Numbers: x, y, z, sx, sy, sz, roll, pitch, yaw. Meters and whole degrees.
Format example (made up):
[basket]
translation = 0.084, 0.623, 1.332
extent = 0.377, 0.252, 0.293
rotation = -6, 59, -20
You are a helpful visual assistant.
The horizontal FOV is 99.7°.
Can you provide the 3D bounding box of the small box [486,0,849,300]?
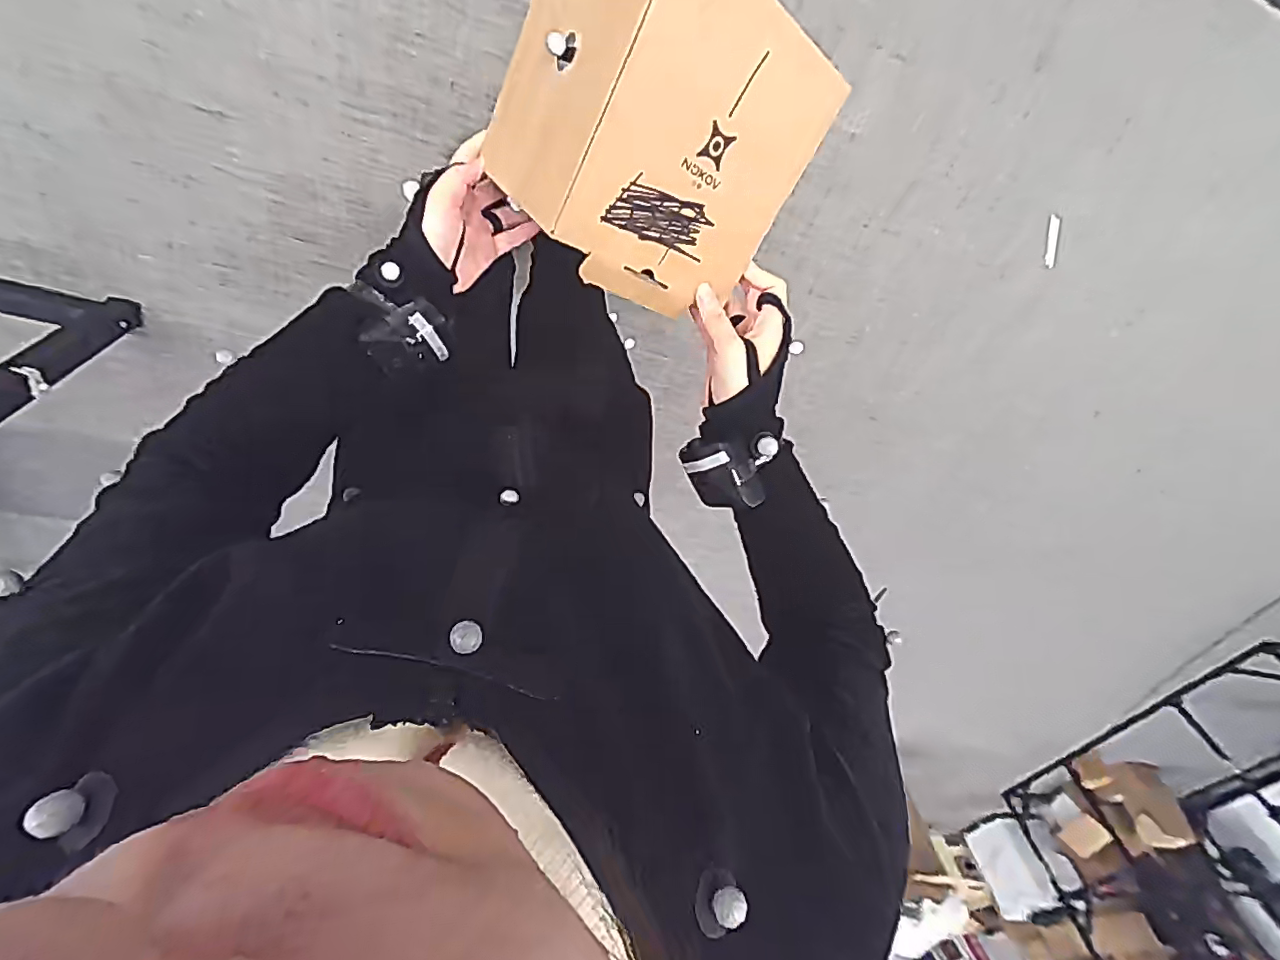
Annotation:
[small box]
translation = 0.004, -0.269, 0.398
extent = 0.168, 0.176, 0.179
rotation = 8, 124, -42
